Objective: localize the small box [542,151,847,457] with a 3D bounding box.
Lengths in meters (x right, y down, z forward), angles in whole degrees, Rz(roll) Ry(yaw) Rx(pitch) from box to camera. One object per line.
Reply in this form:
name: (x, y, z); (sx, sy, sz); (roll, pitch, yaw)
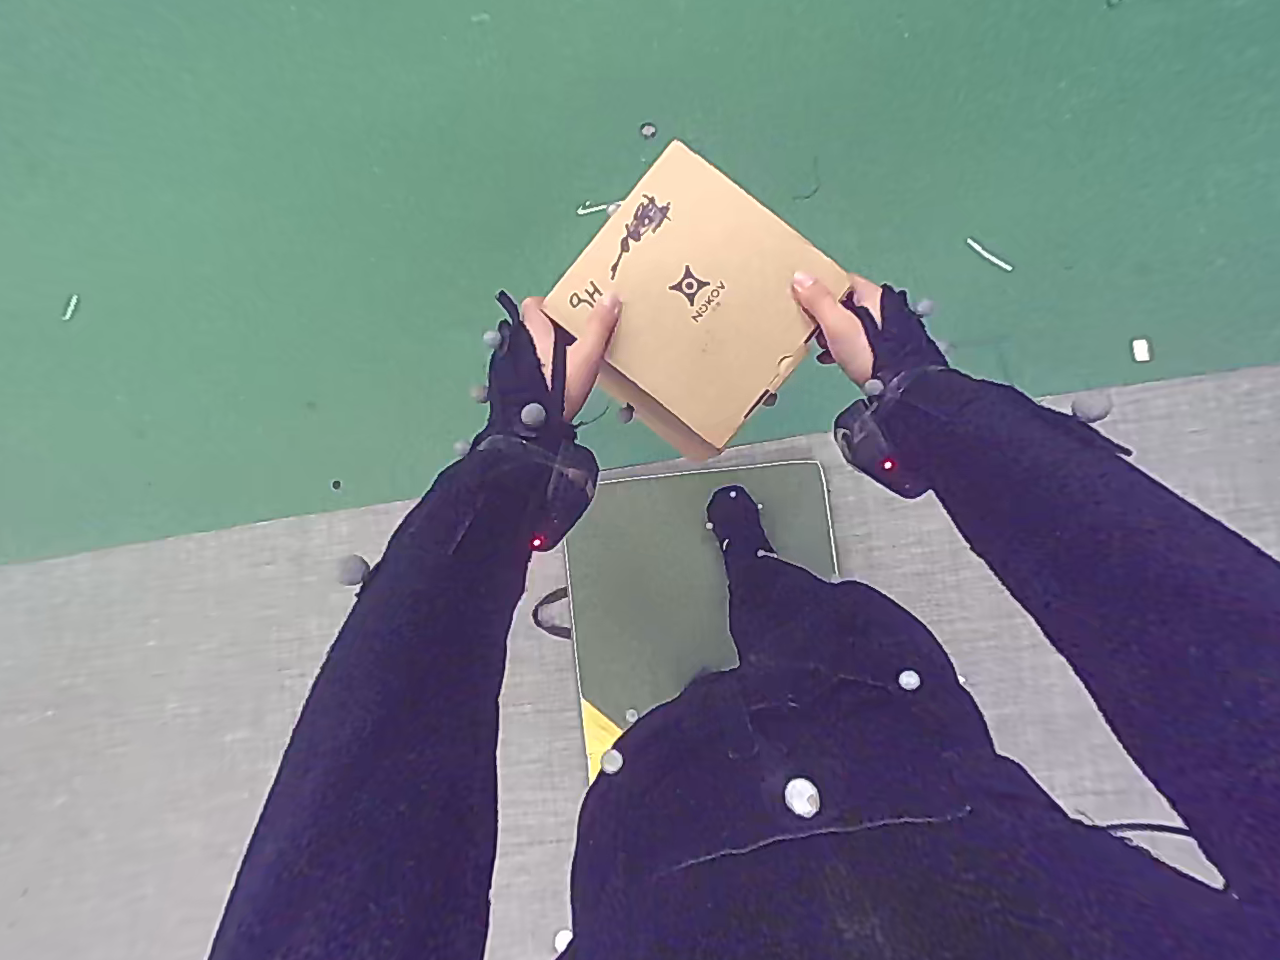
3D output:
small box: (0.041, -0.135, 0.488); (0.179, 0.176, 0.168); (39, 88, 0)
